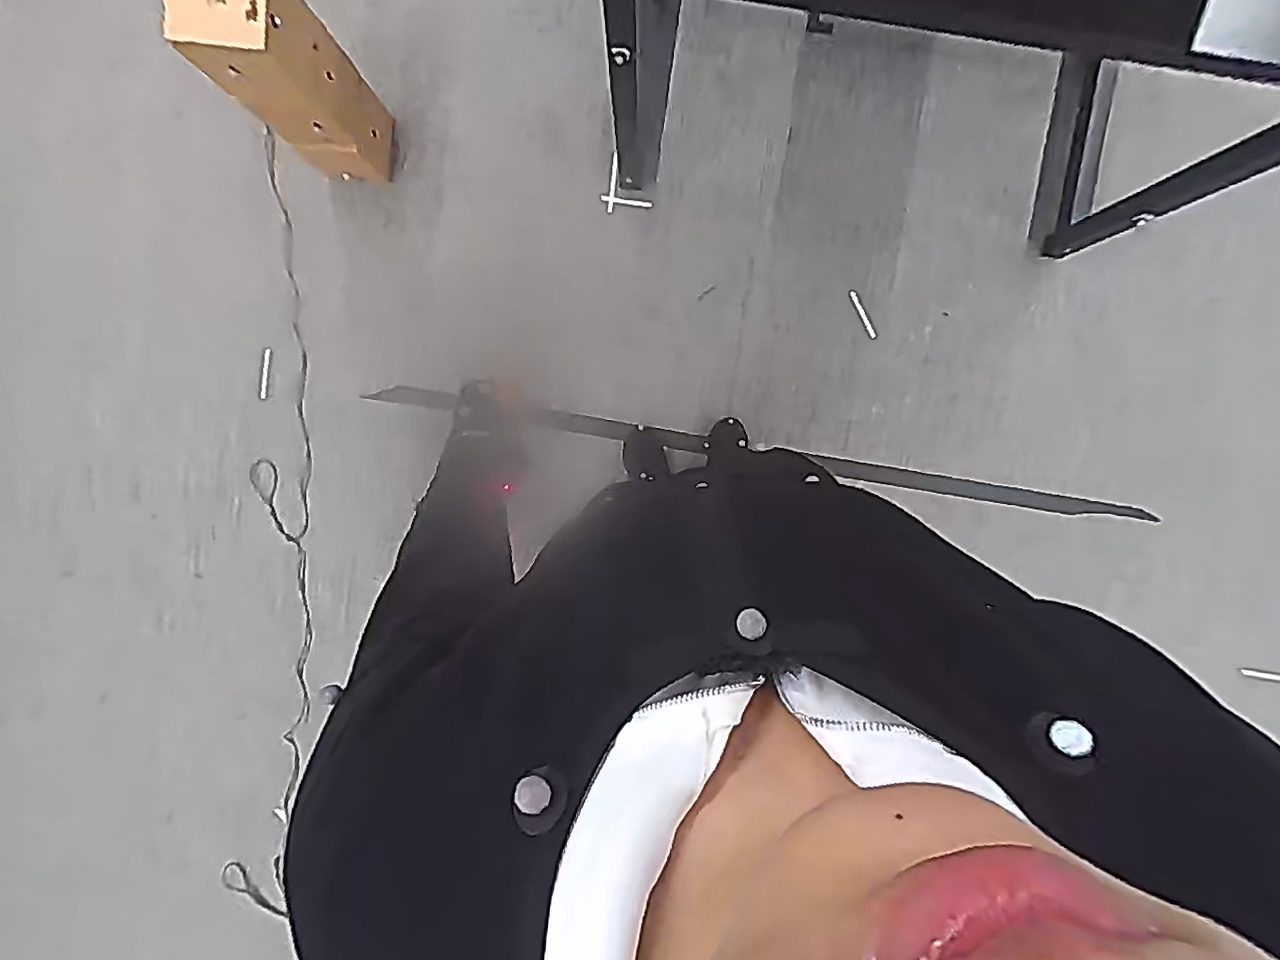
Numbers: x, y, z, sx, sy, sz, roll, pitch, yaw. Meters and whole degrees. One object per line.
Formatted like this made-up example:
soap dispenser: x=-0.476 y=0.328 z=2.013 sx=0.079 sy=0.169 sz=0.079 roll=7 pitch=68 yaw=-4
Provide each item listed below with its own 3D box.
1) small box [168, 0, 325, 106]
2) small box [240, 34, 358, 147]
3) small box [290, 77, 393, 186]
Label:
small box: x=-0.735 y=-0.844 z=1.022 sx=0.179 sy=0.176 sz=0.168 roll=5 pitch=95 yaw=0
small box: x=-0.739 y=-0.861 z=1.185 sx=0.168 sy=0.176 sz=0.179 roll=1 pitch=93 yaw=-1
small box: x=-0.736 y=-0.868 z=1.348 sx=0.168 sy=0.176 sz=0.179 roll=5 pitch=96 yaw=0
